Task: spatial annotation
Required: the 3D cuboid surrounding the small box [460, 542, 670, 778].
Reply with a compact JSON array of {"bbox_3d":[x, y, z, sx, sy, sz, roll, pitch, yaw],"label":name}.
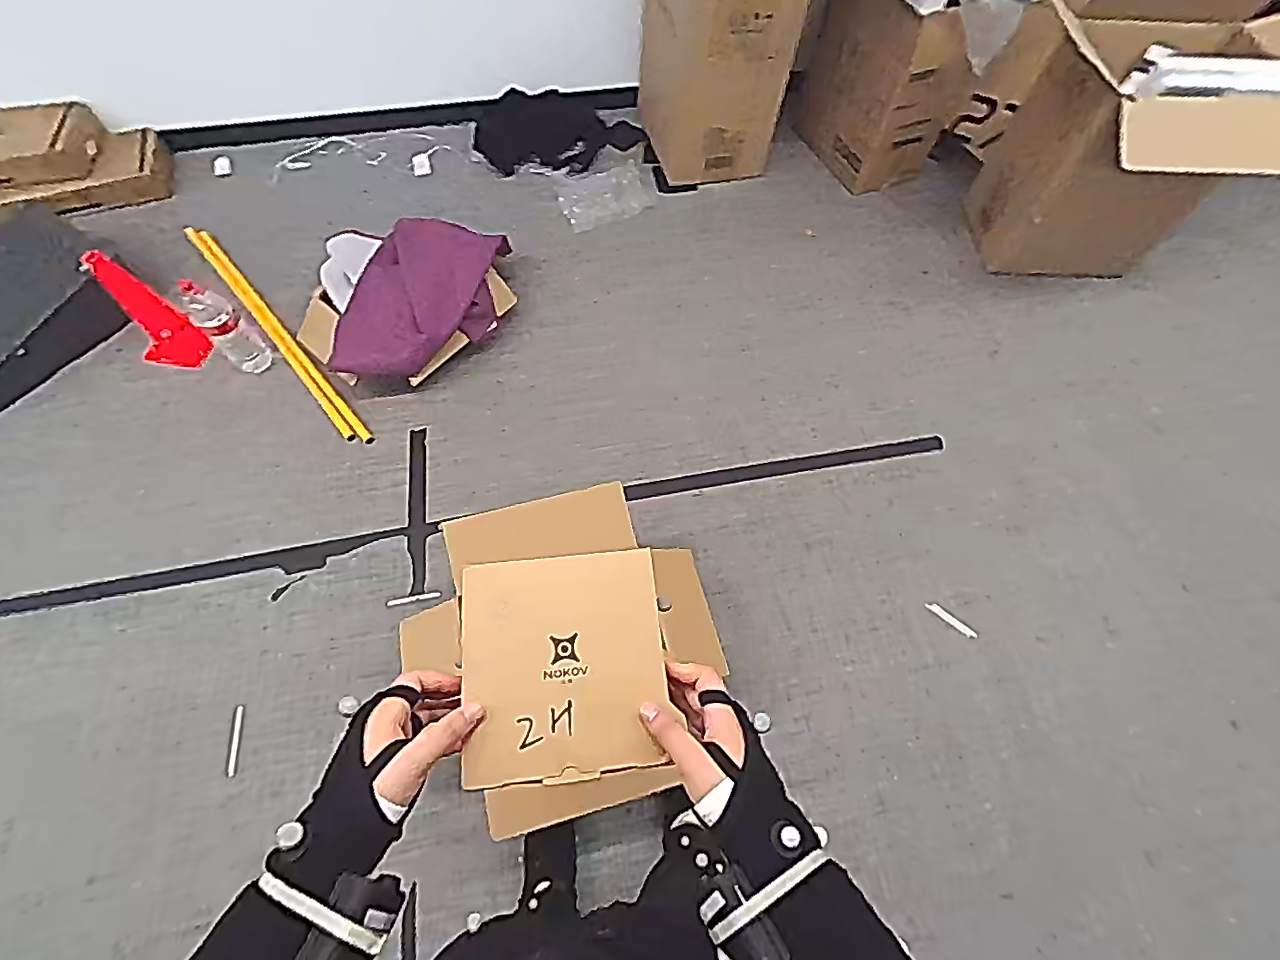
[{"bbox_3d":[-0.070,0.170,0.523,0.168,0.176,0.179,-5,70,-6],"label":"small box"}]
